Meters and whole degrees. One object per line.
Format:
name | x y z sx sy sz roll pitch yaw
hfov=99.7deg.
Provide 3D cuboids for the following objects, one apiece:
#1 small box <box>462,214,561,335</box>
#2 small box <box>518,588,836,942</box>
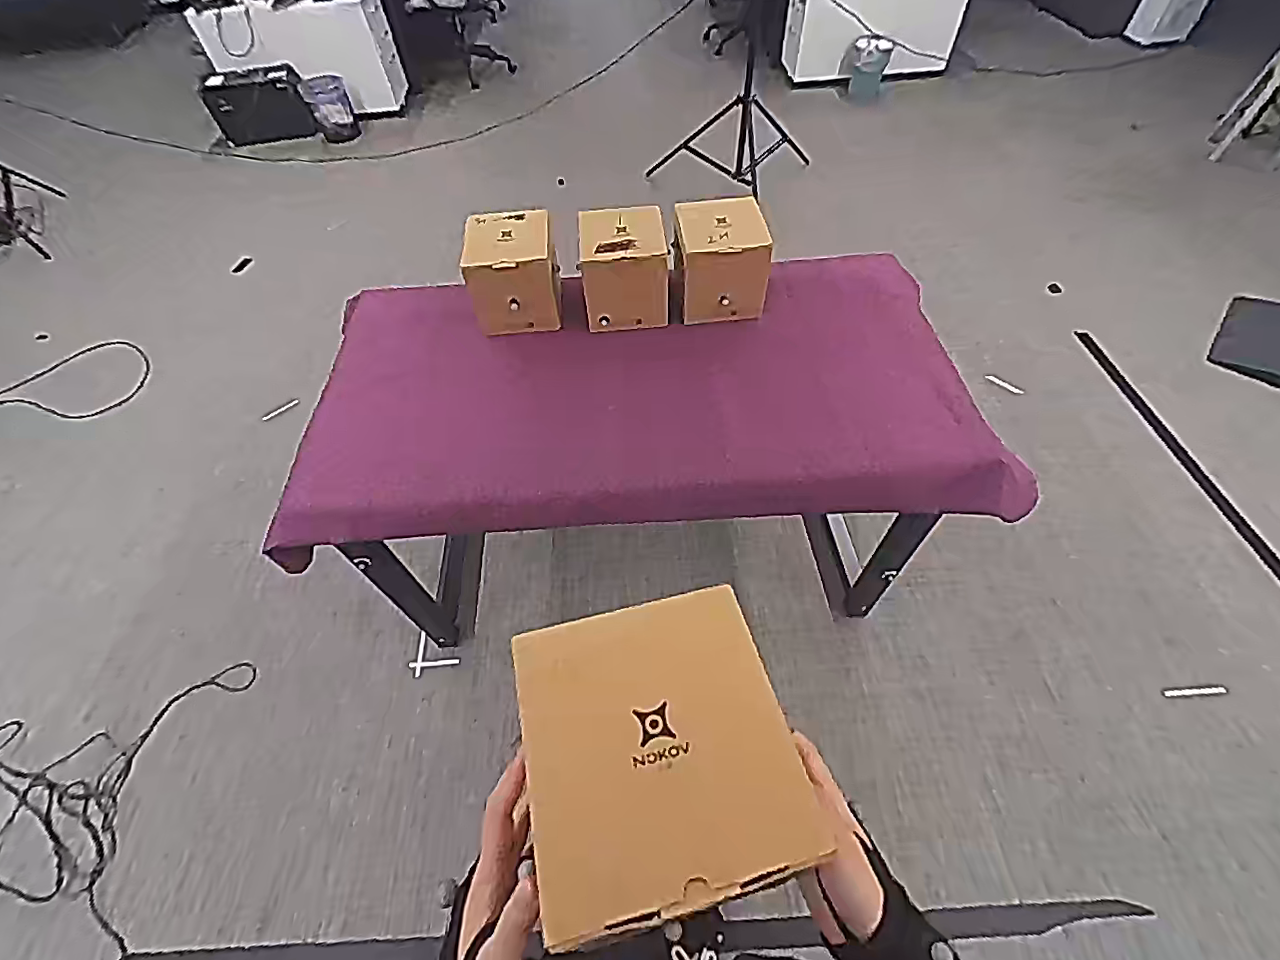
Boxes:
small box | -0.256 -0.417 1.119 0.168 0.176 0.179 -5 57 -1
small box | 0.012 0.211 0.403 0.168 0.176 0.179 -12 52 -9
